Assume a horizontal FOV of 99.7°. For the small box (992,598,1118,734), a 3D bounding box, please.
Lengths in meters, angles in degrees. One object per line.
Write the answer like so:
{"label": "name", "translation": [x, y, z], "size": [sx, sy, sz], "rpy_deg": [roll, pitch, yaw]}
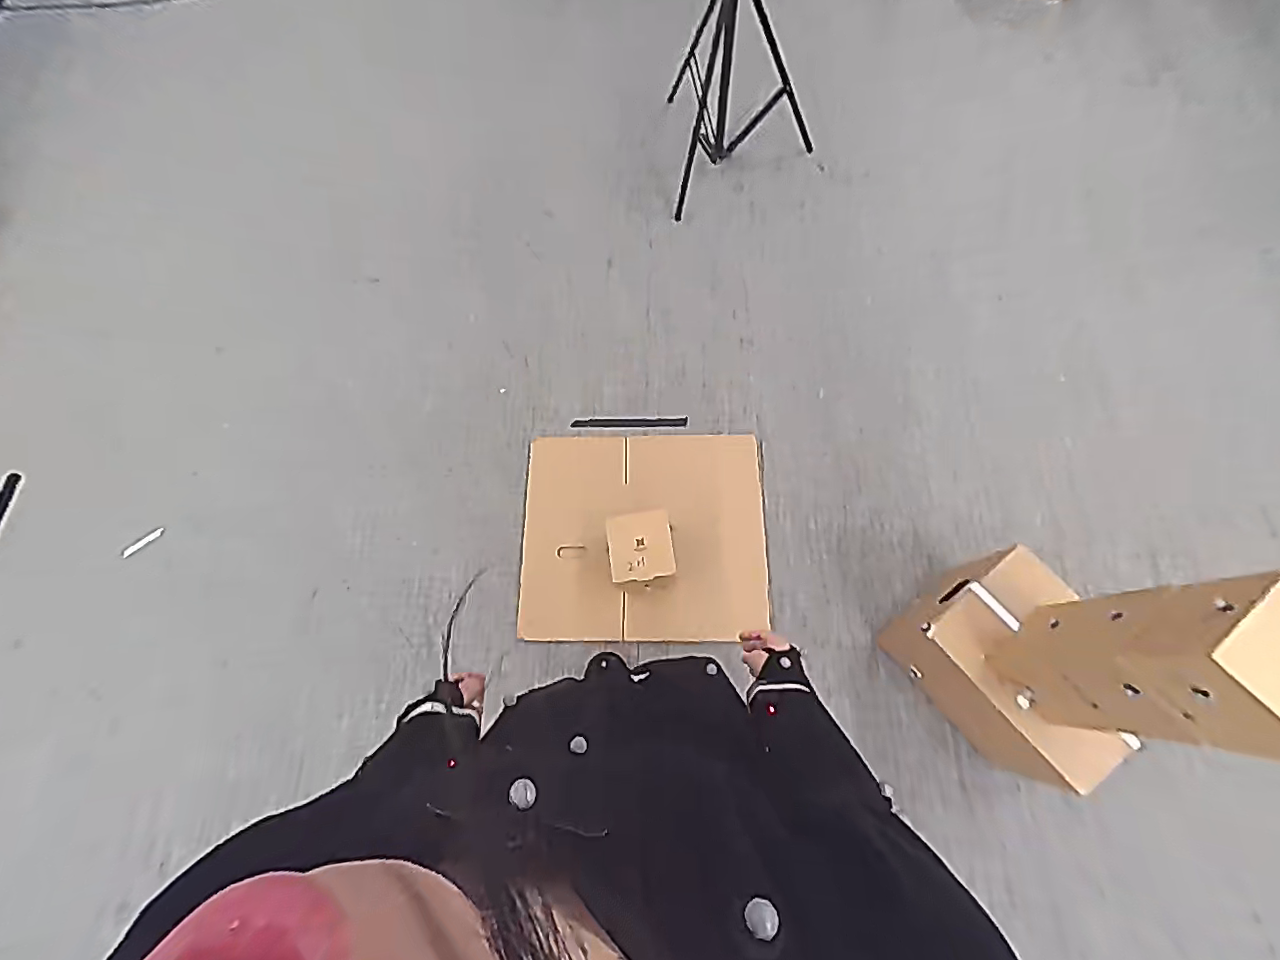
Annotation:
{"label": "small box", "translation": [0.834, 0.352, 1.040], "size": [0.179, 0.176, 0.168], "rpy_deg": [-38, 73, -9]}

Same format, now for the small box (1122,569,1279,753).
{"label": "small box", "translation": [0.820, 0.248, 0.730], "size": [0.179, 0.176, 0.168], "rpy_deg": [-38, 73, -10]}

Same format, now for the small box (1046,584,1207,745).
{"label": "small box", "translation": [0.828, 0.297, 0.886], "size": [0.179, 0.176, 0.168], "rpy_deg": [-37, 73, -10]}

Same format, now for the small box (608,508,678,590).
{"label": "small box", "translation": [0.010, 0.190, 1.458], "size": [0.168, 0.176, 0.179], "rpy_deg": [-9, 71, 3]}
